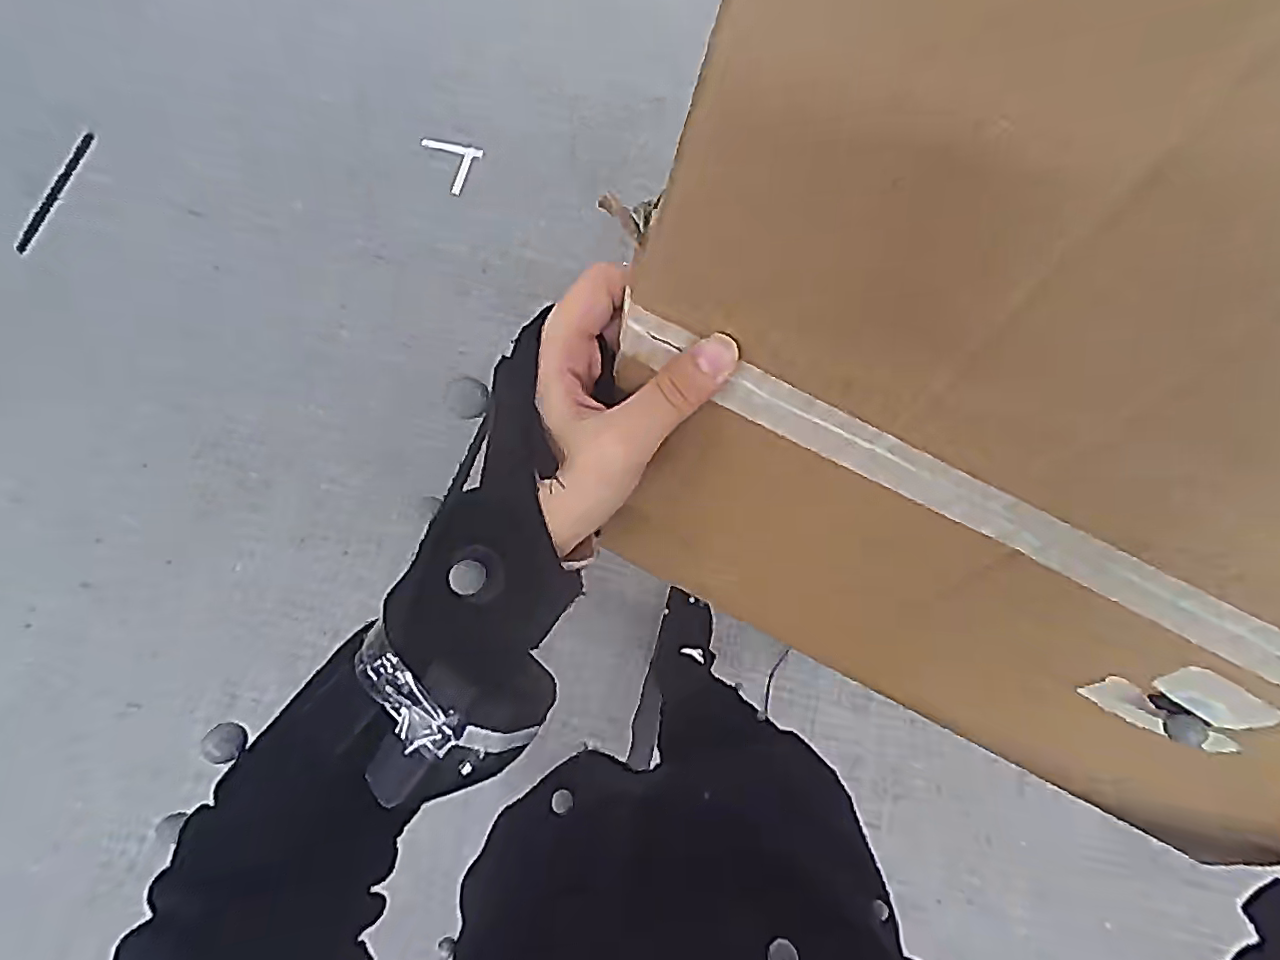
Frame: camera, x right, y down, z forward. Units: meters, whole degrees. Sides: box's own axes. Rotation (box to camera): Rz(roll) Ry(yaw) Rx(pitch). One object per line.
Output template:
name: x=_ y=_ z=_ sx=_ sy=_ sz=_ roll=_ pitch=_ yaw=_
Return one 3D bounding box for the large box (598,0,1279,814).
large box: x=0.240 y=-0.096 z=0.280 sx=0.408 sy=0.320 sz=0.320 roll=27 pitch=52 yaw=2
